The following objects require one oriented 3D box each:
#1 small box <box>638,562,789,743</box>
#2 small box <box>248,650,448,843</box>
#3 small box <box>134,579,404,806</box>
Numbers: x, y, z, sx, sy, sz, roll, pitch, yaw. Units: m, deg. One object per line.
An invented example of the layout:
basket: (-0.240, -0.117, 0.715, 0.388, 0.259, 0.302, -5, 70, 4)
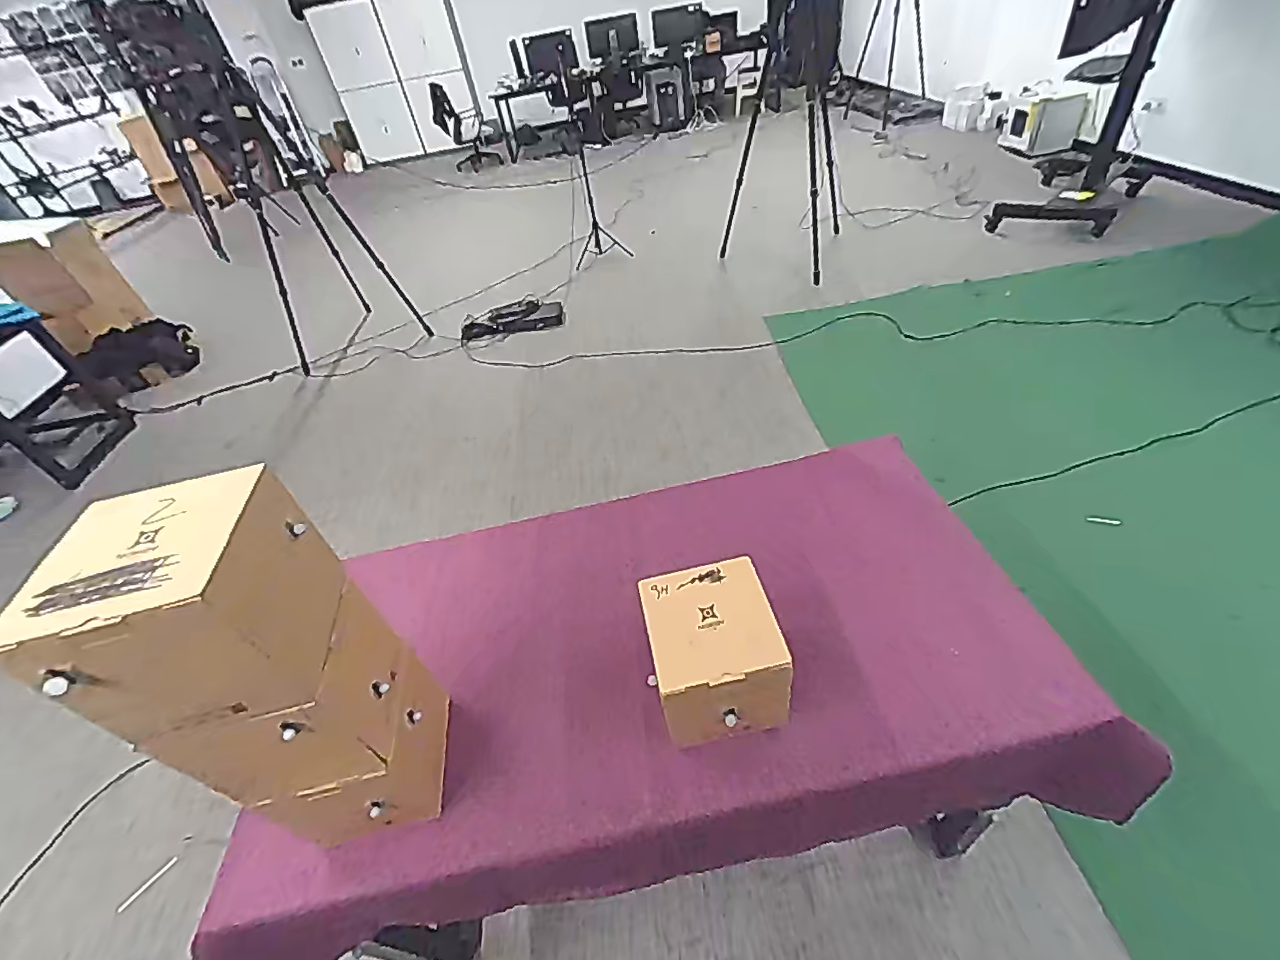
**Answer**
small box: (0.100, 0.248, 0.761, 0.168, 0.176, 0.179, -12, 42, -1)
small box: (-0.374, 0.366, 0.735, 0.168, 0.176, 0.179, -13, 41, -3)
small box: (-0.402, 0.248, 0.627, 0.179, 0.176, 0.168, -14, 42, -5)
